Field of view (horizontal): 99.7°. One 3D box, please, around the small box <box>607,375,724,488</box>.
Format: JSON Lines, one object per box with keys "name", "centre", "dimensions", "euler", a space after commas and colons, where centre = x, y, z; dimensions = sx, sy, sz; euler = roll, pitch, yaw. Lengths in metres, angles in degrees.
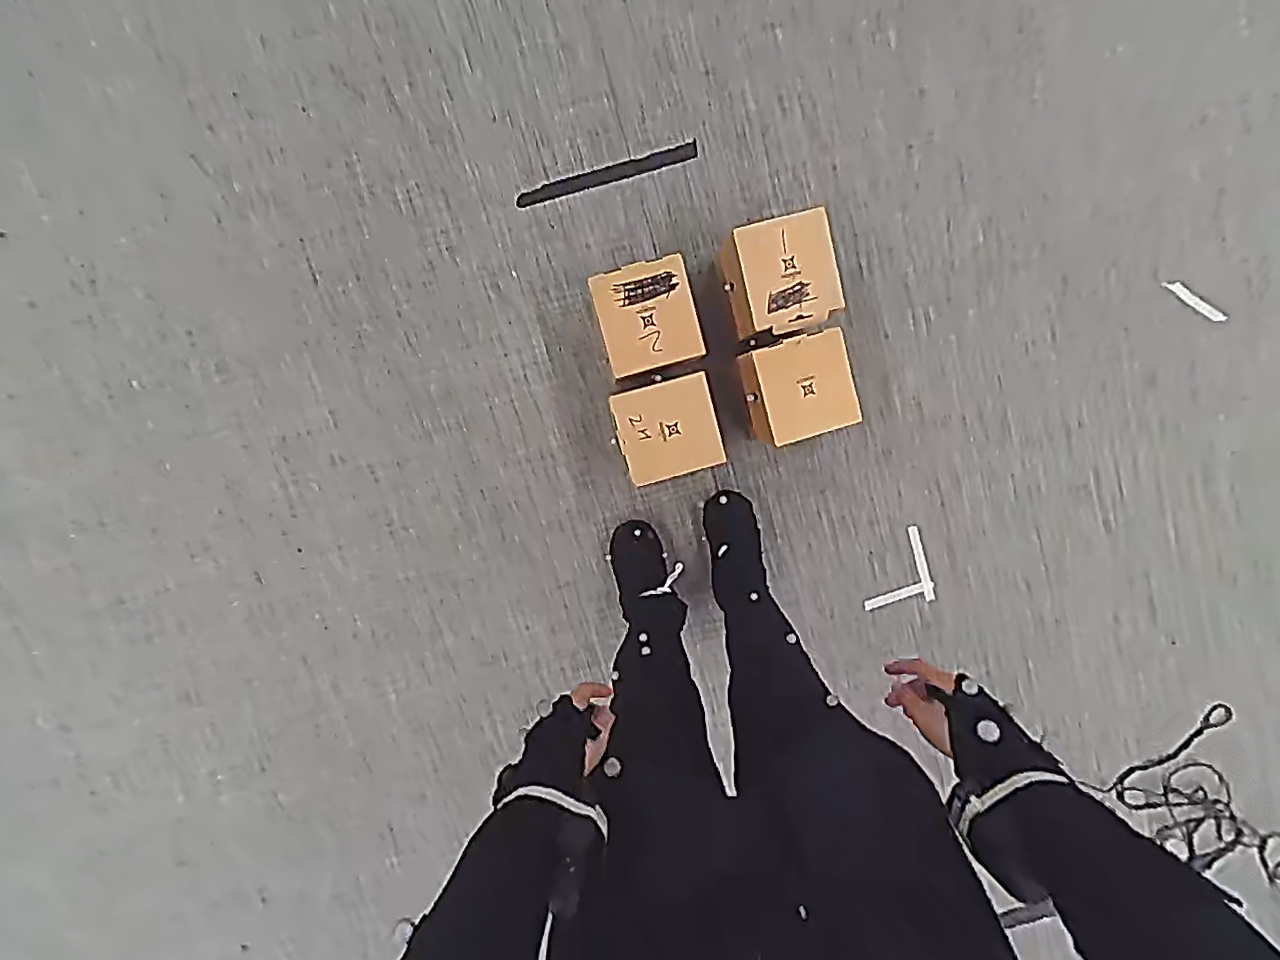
{"name": "small box", "centre": [0.040, -0.095, 1.014], "dimensions": [0.179, 0.176, 0.168], "euler": [-15, 98, -2]}
